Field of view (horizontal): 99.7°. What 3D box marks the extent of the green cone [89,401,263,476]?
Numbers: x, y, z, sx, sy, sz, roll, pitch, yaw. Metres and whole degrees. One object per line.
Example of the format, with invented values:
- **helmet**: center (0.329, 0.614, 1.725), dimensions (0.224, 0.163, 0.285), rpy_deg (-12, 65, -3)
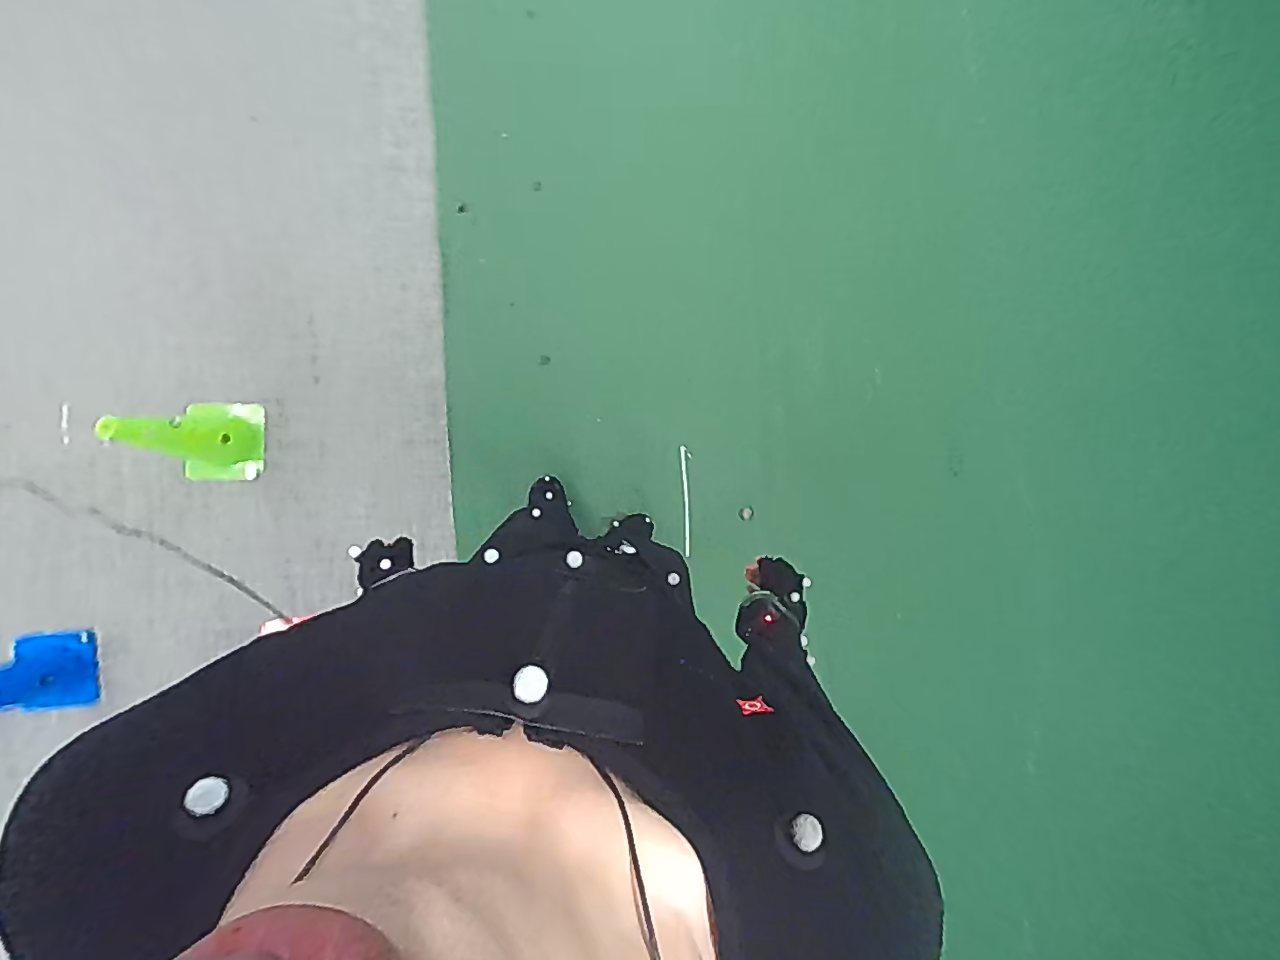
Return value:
- **green cone**: center (-1.103, -0.116, 1.275), dimensions (0.202, 0.368, 0.200), rpy_deg (-1, 89, -3)
